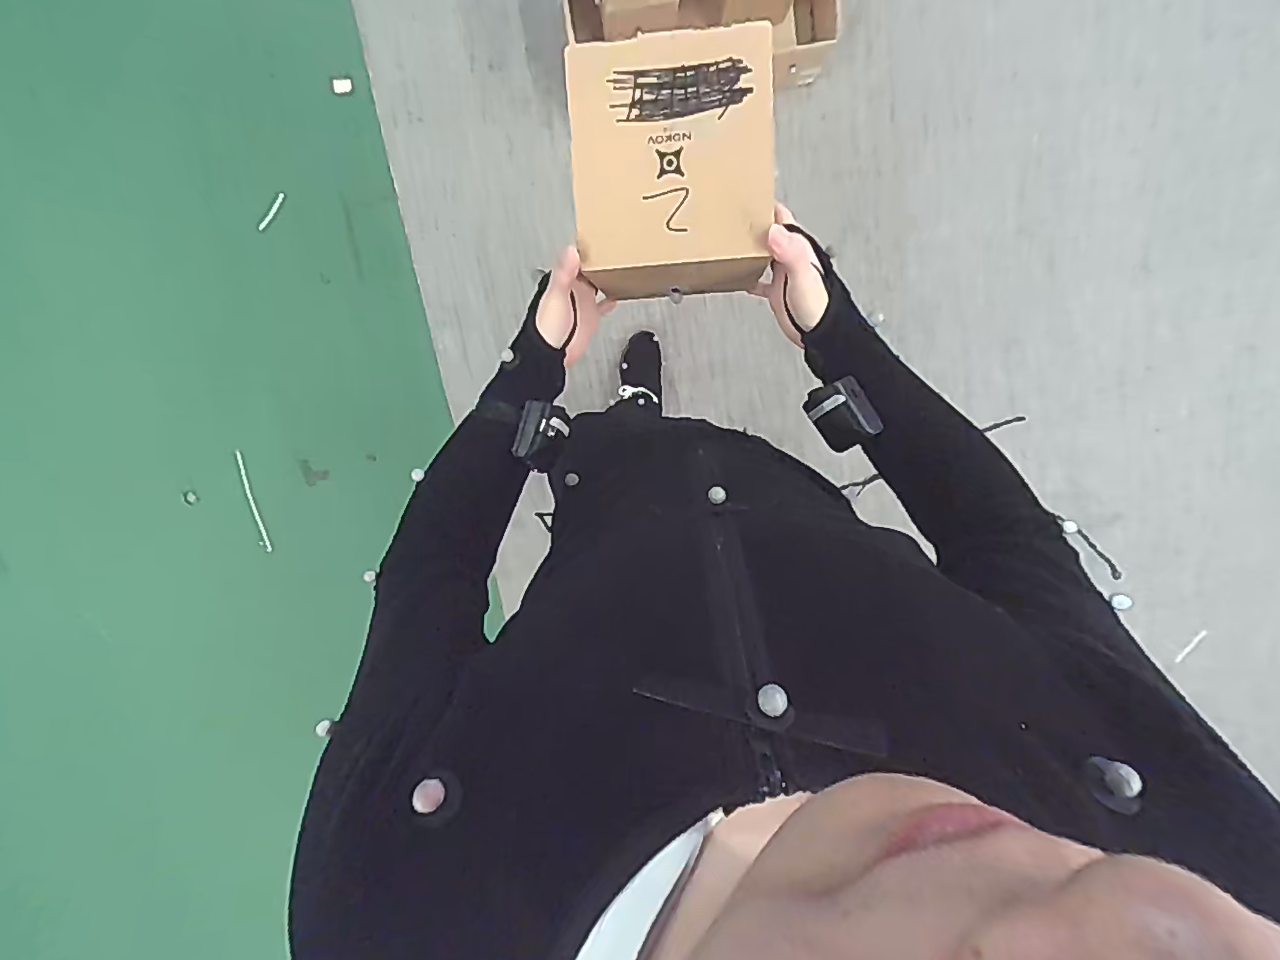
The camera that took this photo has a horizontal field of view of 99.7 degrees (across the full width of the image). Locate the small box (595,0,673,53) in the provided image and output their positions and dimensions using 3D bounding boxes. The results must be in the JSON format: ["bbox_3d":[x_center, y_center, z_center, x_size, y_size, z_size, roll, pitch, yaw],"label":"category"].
[{"bbox_3d":[-0.021,-1.122,1.242,0.168,0.176,0.179,-9,102,-1],"label":"small box"}]

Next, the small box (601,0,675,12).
[{"bbox_3d":[-0.010,-1.088,1.085,0.168,0.176,0.179,-10,102,0],"label":"small box"}]
